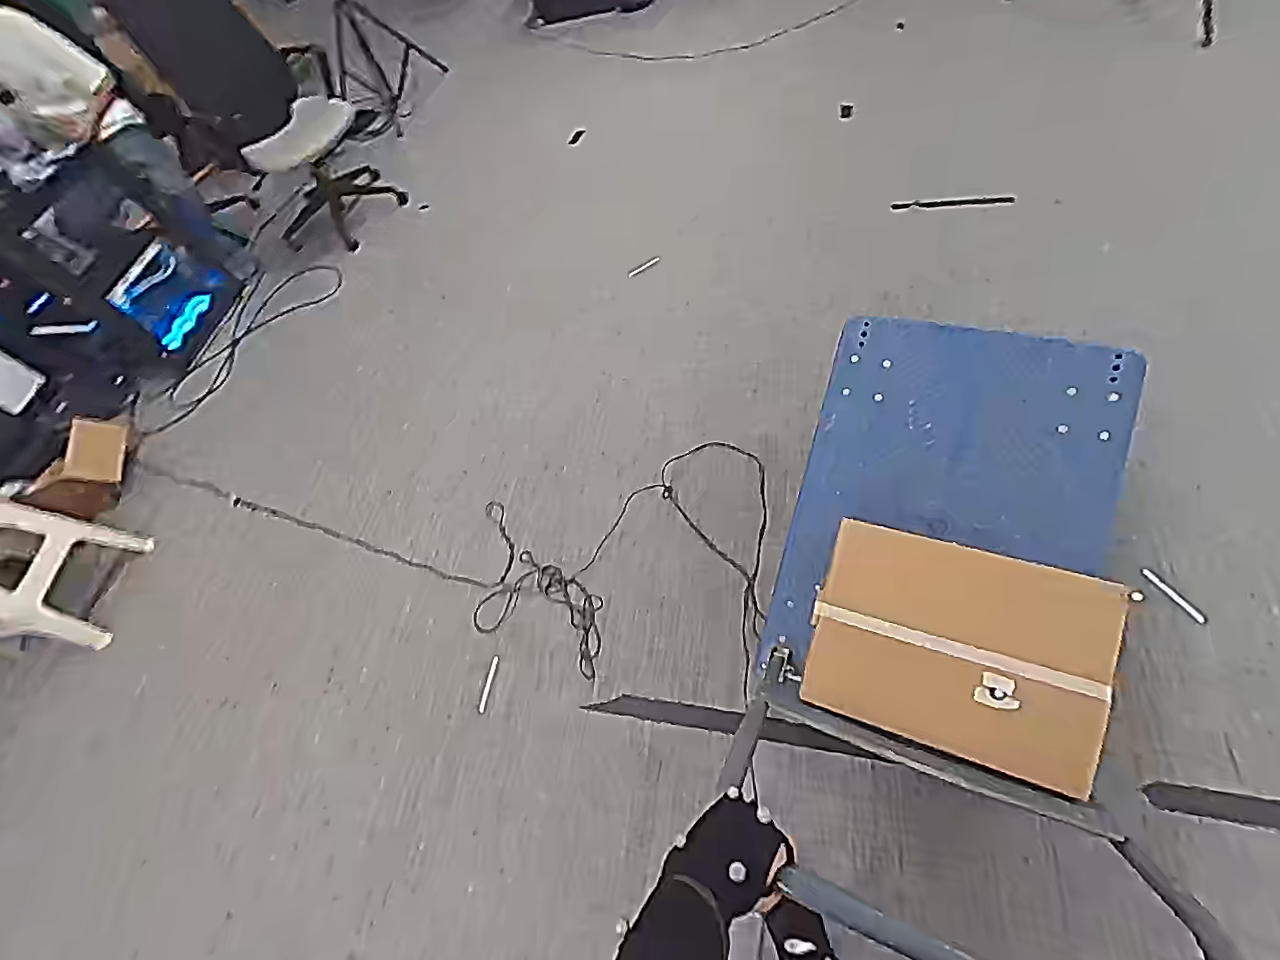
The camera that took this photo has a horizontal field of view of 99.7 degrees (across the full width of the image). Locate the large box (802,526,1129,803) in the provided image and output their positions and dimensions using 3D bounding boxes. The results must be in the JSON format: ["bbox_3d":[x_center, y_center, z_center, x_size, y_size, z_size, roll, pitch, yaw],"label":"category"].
[{"bbox_3d":[0.526,0.286,0.967,0.408,0.320,0.320,14,87,20],"label":"large box"}]
